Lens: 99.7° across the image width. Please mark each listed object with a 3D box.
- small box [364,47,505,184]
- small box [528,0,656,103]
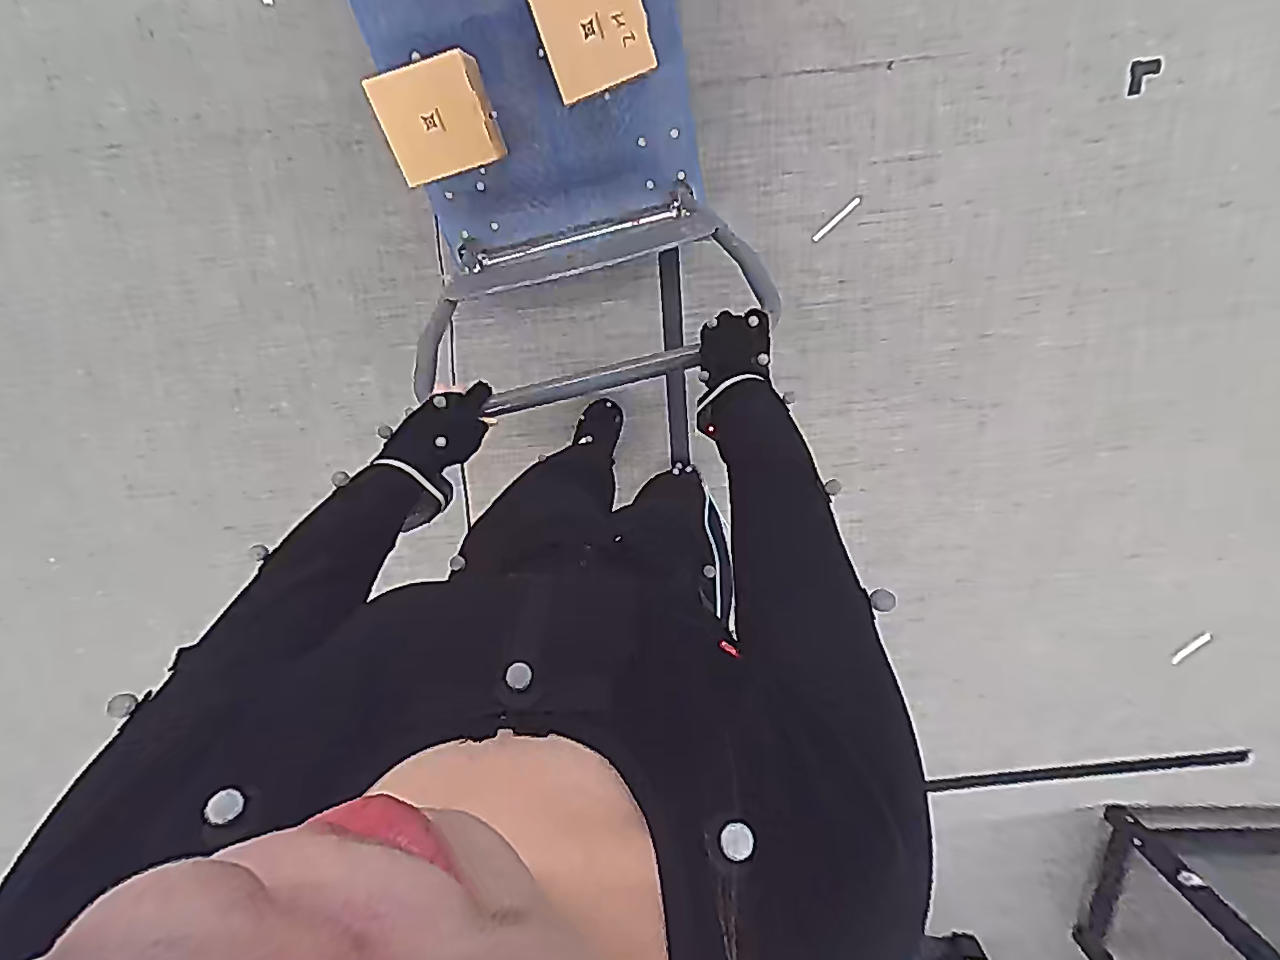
[{"bbox_3d":[-0.367,-0.669,1.004,0.179,0.176,0.168,-17,124,3],"label":"small box"},{"bbox_3d":[-0.083,-0.789,0.953,0.179,0.176,0.168,-18,124,6],"label":"small box"}]
